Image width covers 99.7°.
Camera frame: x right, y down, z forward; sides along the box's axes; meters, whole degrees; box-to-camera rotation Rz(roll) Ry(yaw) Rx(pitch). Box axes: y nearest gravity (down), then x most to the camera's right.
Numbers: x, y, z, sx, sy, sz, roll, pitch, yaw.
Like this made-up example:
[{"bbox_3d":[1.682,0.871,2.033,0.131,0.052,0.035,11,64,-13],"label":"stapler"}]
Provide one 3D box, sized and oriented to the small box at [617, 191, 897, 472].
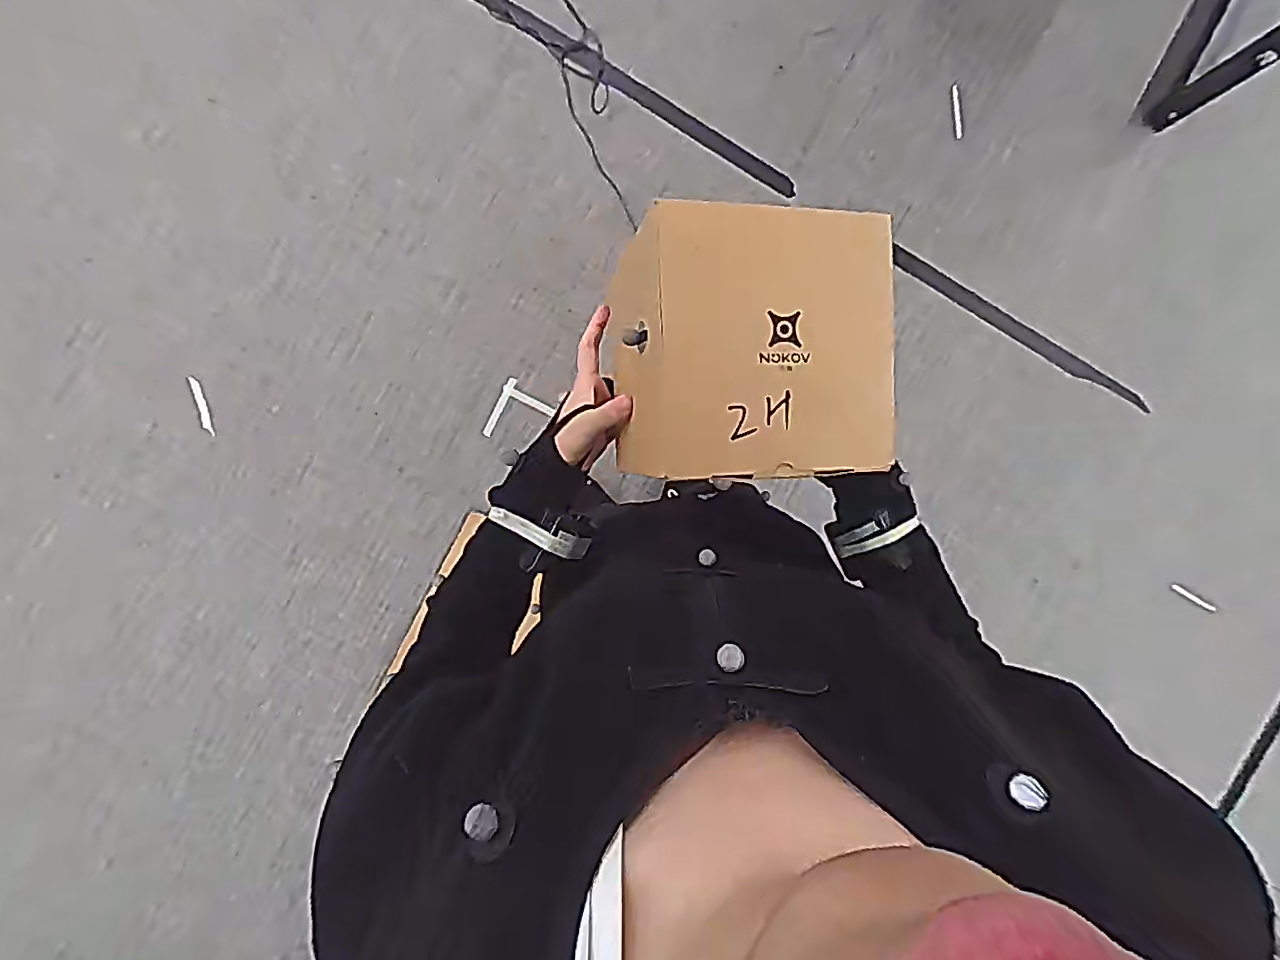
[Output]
[{"bbox_3d":[0.077,-0.096,0.429,0.168,0.176,0.179,-2,94,-12],"label":"small box"}]
